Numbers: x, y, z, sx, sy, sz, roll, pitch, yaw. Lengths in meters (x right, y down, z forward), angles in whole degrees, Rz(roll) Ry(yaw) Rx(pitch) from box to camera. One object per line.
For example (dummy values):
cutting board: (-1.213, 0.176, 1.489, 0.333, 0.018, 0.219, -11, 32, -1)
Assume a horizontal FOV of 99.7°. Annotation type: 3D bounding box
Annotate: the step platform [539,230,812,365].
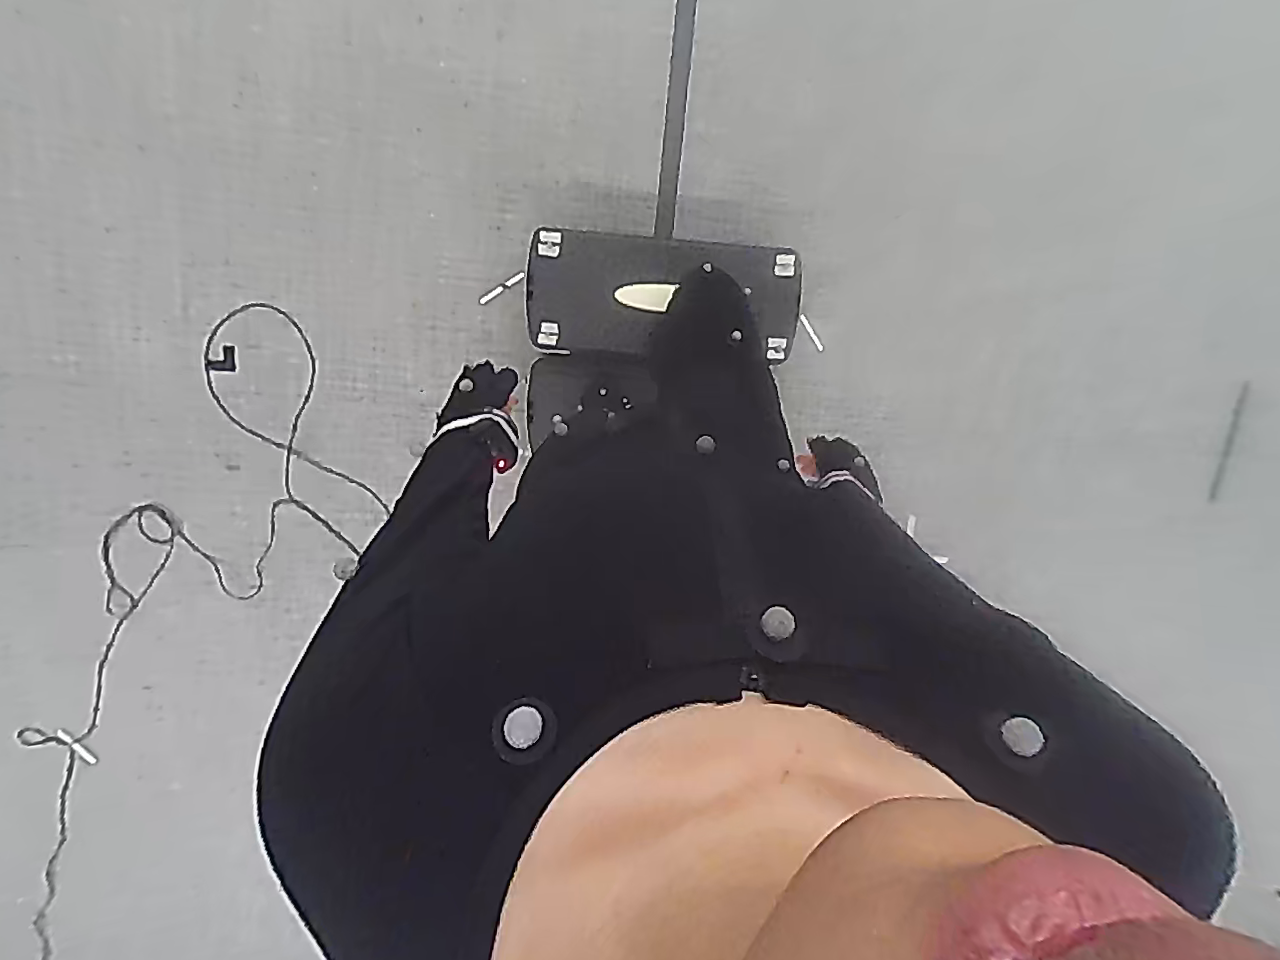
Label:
step platform: (0.086, -0.457, 1.390, 0.684, 0.204, 0.286, 2, 102, -6)
